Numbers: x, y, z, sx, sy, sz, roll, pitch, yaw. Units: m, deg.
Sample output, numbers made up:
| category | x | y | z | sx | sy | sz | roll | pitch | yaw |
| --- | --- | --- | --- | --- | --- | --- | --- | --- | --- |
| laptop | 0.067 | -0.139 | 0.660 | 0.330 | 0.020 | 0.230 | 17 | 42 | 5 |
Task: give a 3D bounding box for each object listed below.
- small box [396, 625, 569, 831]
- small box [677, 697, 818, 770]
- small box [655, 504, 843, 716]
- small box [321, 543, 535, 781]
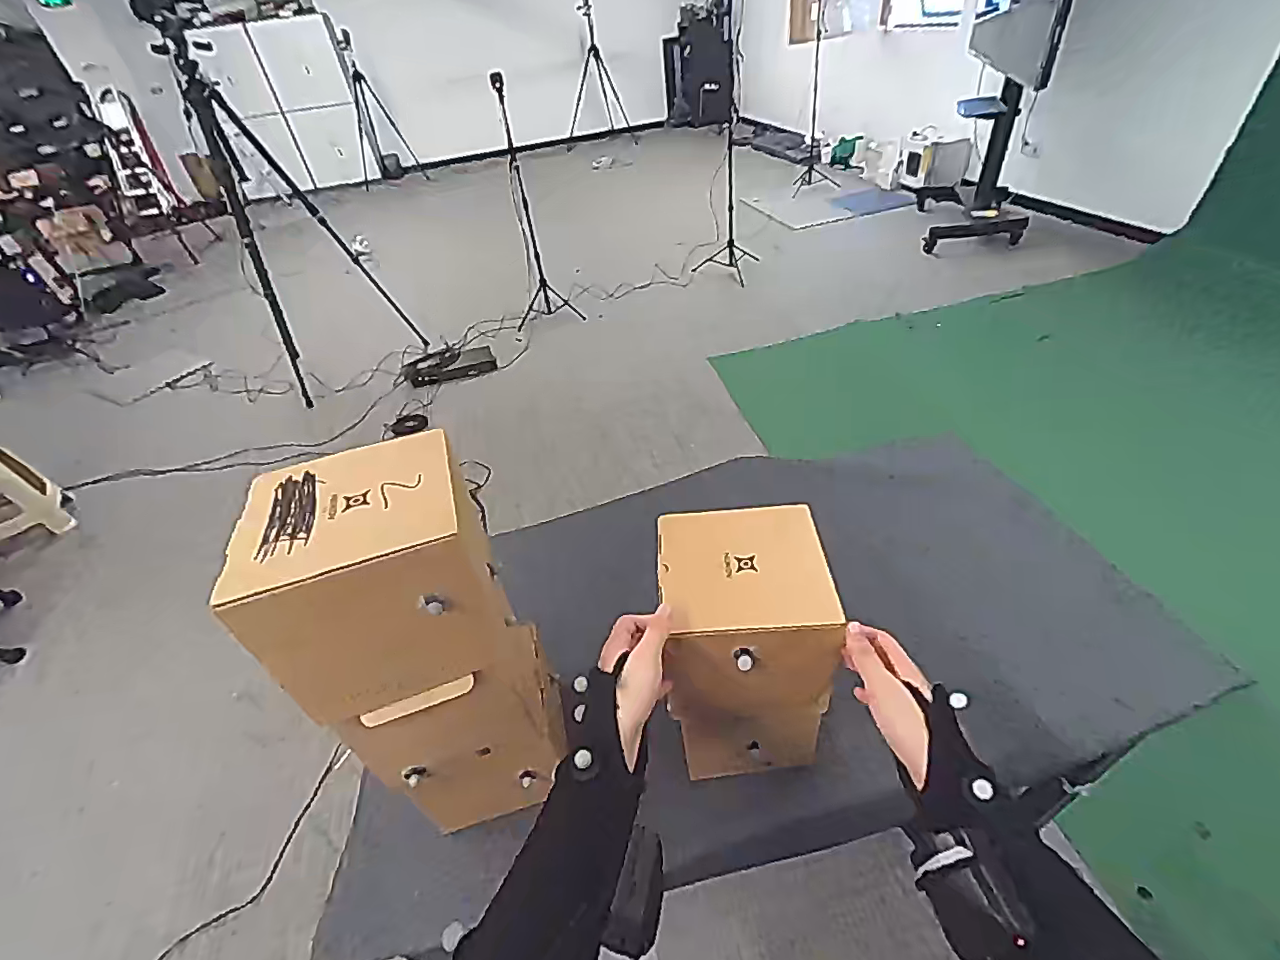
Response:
| category | x | y | z | sx | sy | sz | roll | pitch | yaw |
| --- | --- | --- | --- | --- | --- | --- | --- | --- | --- |
| small box | -0.198 | 0.329 | 0.719 | 0.179 | 0.176 | 0.168 | -16 | 40 | -7 |
| small box | 0.128 | 0.268 | 0.726 | 0.168 | 0.176 | 0.179 | -9 | 41 | 1 |
| small box | 0.112 | 0.149 | 0.614 | 0.179 | 0.176 | 0.168 | -6 | 40 | 6 |
| small box | -0.227 | 0.208 | 0.611 | 0.168 | 0.176 | 0.179 | -18 | 39 | -11 |
